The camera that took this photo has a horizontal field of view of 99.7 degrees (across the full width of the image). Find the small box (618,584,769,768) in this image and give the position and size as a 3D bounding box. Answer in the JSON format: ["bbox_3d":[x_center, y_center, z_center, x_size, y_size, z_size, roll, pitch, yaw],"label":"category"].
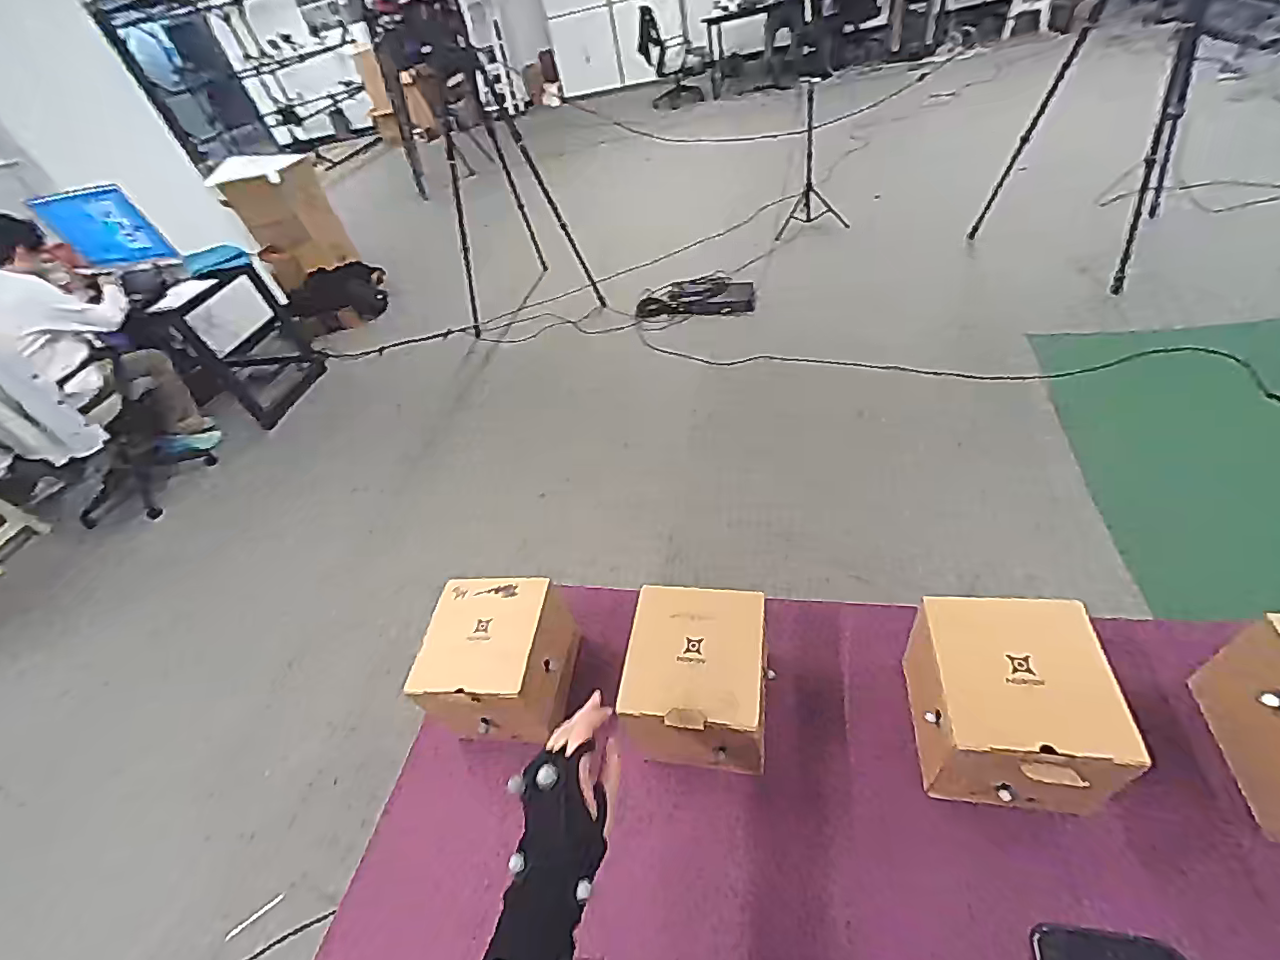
[{"bbox_3d":[0.083,0.260,0.718,0.168,0.176,0.179,0,47,16],"label":"small box"}]

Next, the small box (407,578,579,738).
[{"bbox_3d":[-0.200,0.263,0.796,0.168,0.176,0.179,-3,47,12],"label":"small box"}]

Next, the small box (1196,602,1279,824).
[{"bbox_3d":[0.726,0.244,0.538,0.168,0.176,0.179,-1,47,17],"label":"small box"}]

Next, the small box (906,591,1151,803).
[{"bbox_3d":[0.421,0.249,0.629,0.168,0.176,0.179,-2,47,15],"label":"small box"}]
